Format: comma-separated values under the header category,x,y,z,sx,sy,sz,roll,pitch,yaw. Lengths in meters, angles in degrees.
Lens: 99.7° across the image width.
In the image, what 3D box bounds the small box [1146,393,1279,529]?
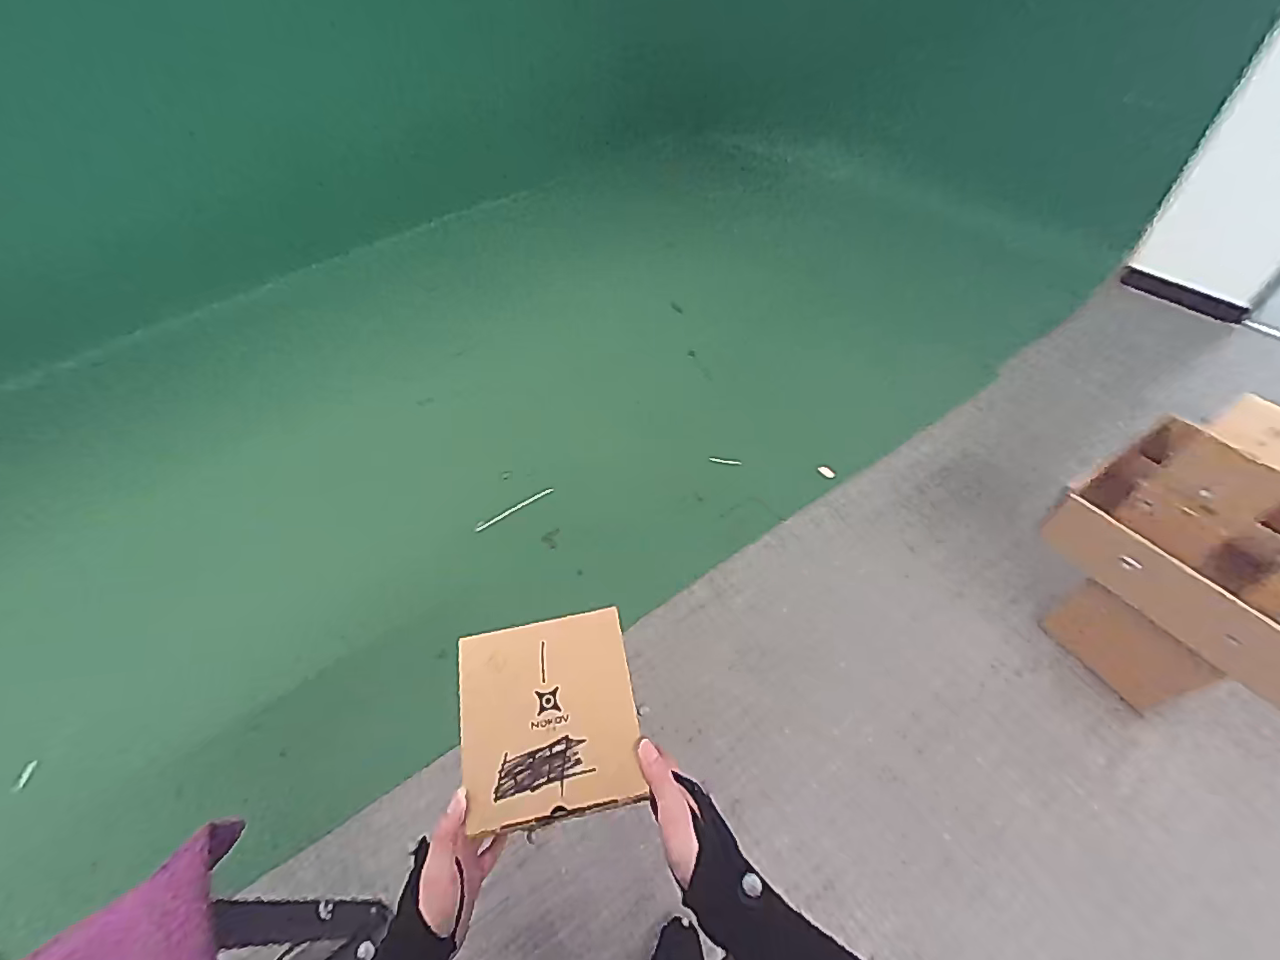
category,x,y,z,sx,sy,sz,roll,pitch,yaw
small box,1.191,-0.036,1.087,0.179,0.176,0.168,-30,54,-16

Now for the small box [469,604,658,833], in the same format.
category,x,y,z,sx,sy,sz,roll,pitch,yaw
small box,-0.076,0.254,0.574,0.168,0.176,0.179,-9,58,-5
